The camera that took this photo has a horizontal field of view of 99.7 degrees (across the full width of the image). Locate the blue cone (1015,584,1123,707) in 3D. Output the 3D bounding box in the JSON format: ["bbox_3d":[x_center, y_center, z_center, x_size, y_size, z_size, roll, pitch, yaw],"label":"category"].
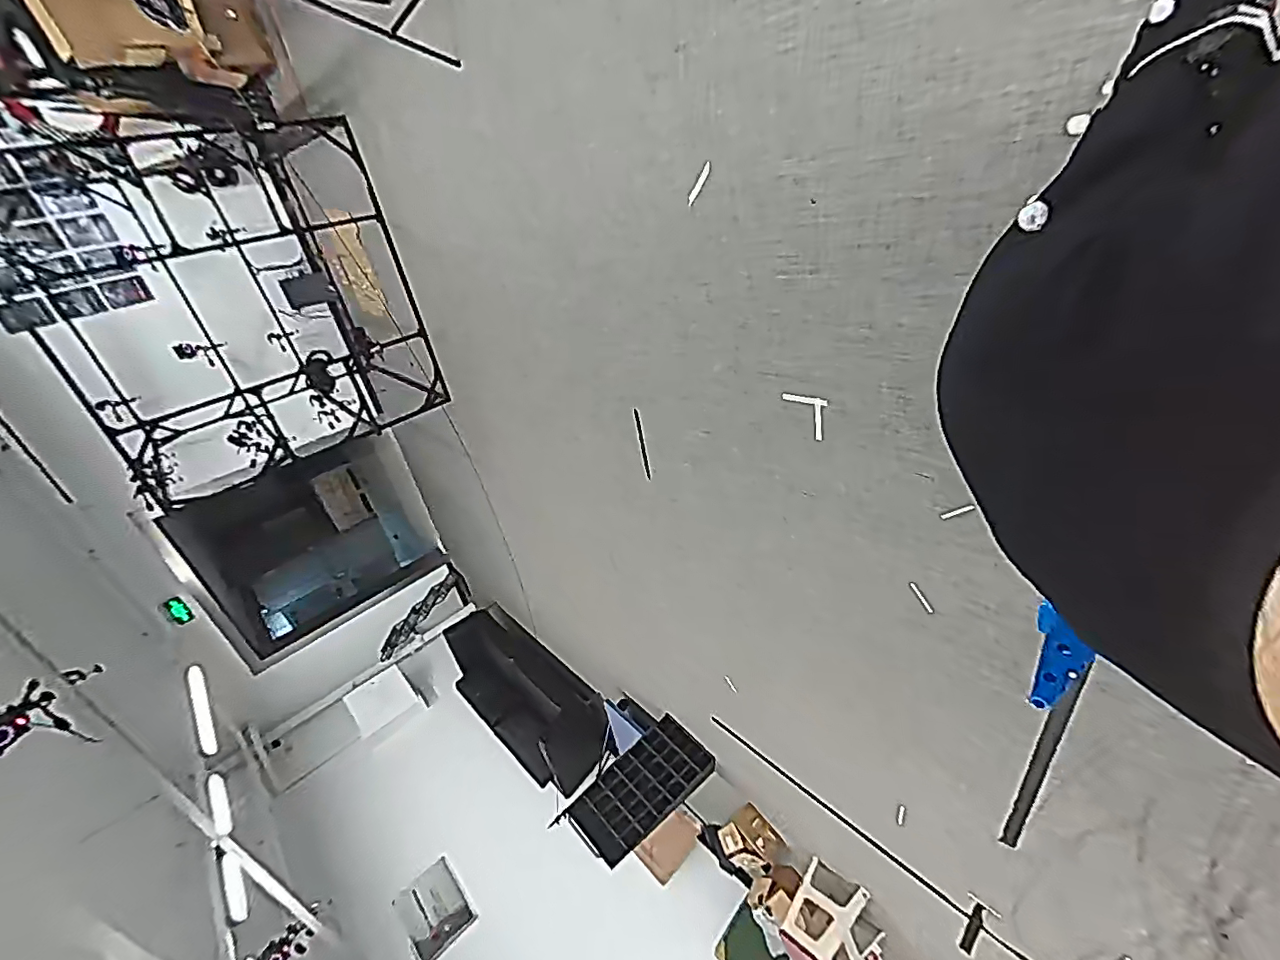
[{"bbox_3d":[1.080,0.460,1.407,0.192,0.380,0.193,21,132,46],"label":"blue cone"}]
